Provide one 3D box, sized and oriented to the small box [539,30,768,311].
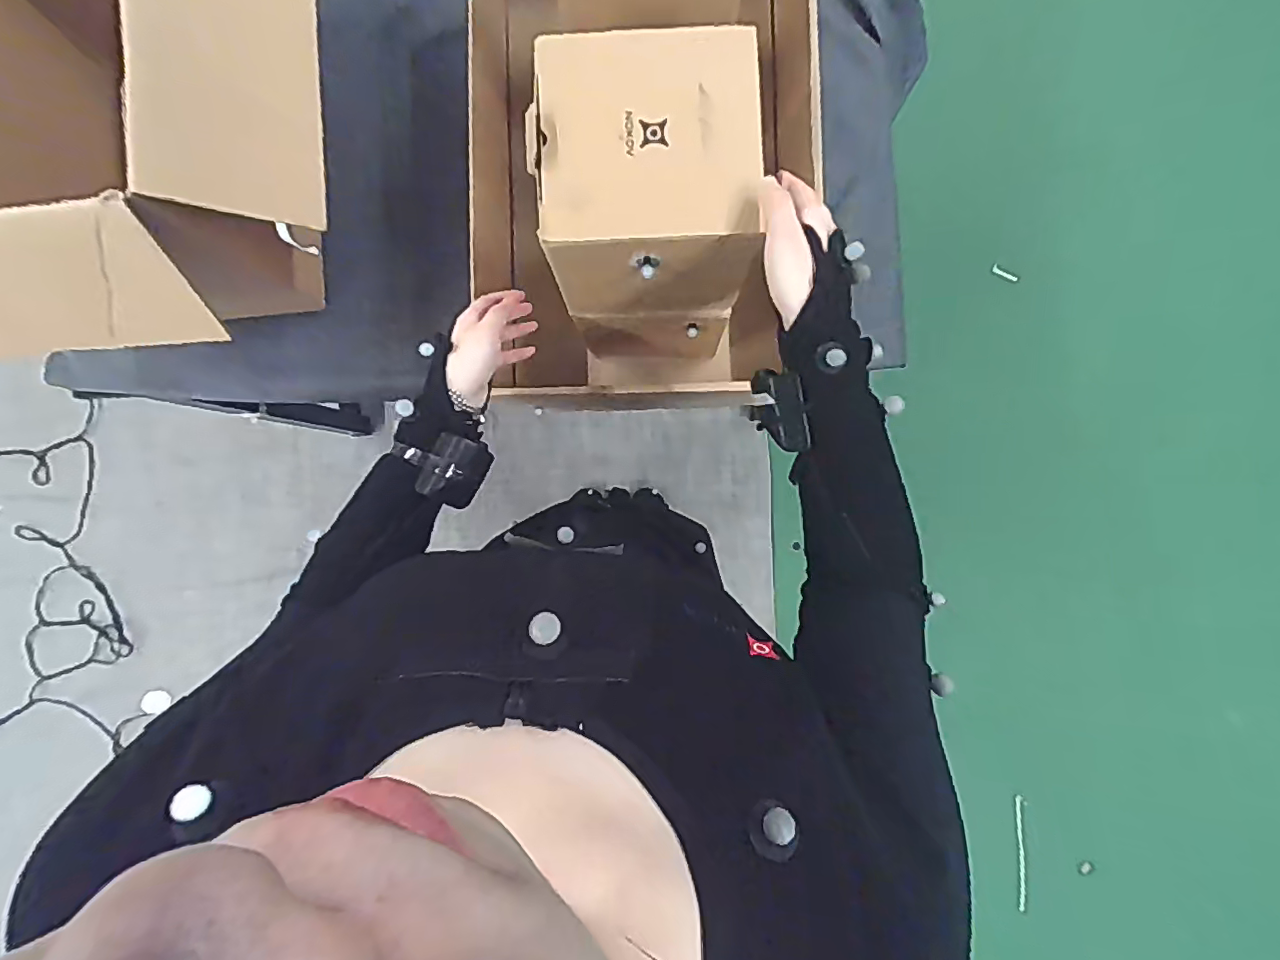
[{"bbox_3d":[0.011,-0.264,0.500,0.179,0.176,0.168,-2,89,0],"label":"small box"}]
